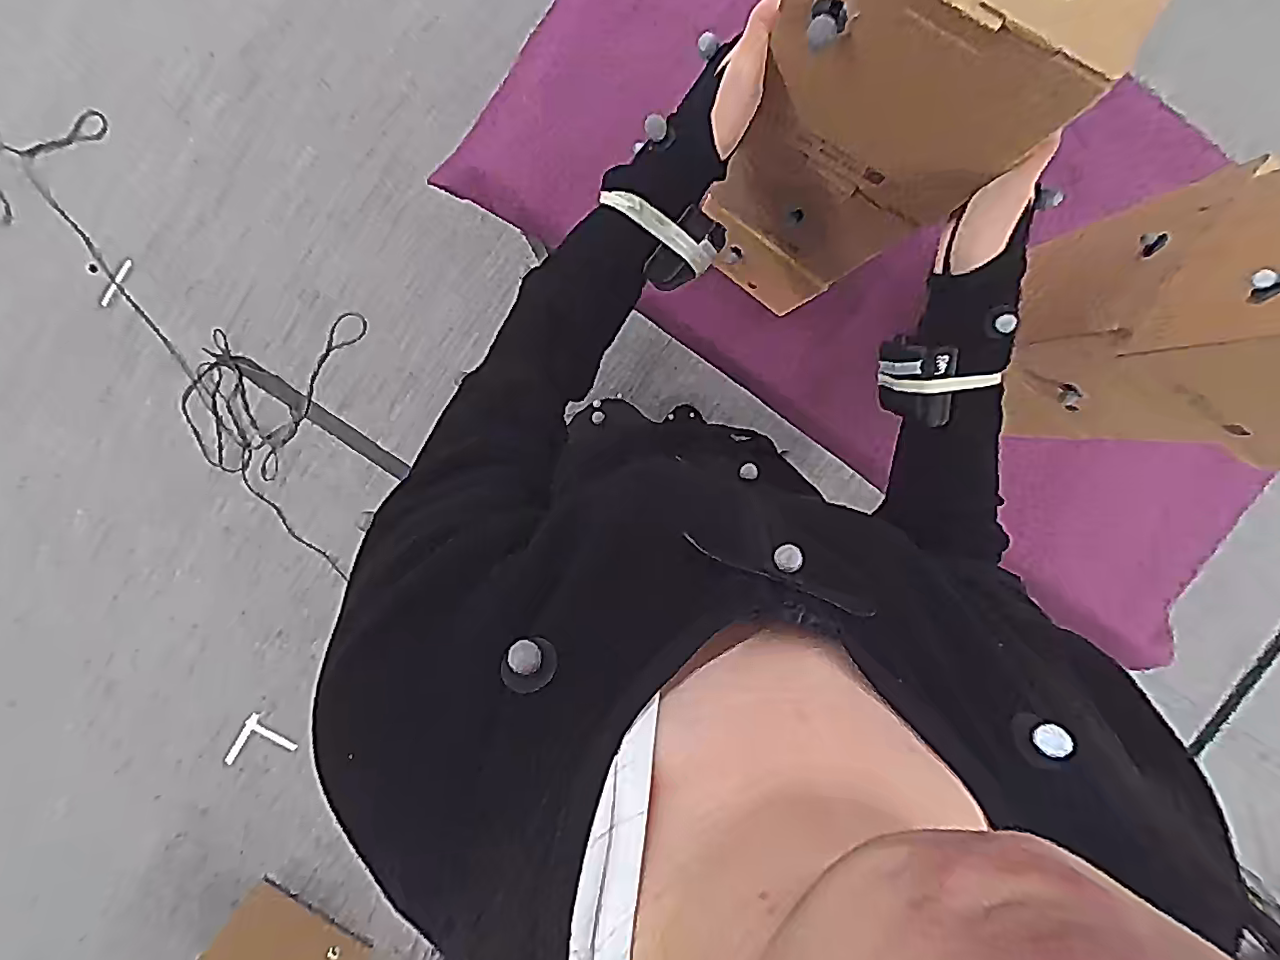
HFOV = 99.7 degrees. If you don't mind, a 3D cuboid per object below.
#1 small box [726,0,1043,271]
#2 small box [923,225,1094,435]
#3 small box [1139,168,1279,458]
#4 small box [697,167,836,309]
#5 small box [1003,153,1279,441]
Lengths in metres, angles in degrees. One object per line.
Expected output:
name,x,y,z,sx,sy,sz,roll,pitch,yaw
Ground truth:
small box,0.195,-0.323,0.494,0.168,0.176,0.179,33,94,-6
small box,0.500,-0.176,0.689,0.168,0.176,0.179,38,93,-7
small box,0.508,-0.120,0.367,0.168,0.176,0.179,34,94,-6
small box,0.184,-0.335,0.657,0.168,0.176,0.179,35,93,-6
small box,0.512,-0.158,0.526,0.168,0.176,0.179,37,94,-6
